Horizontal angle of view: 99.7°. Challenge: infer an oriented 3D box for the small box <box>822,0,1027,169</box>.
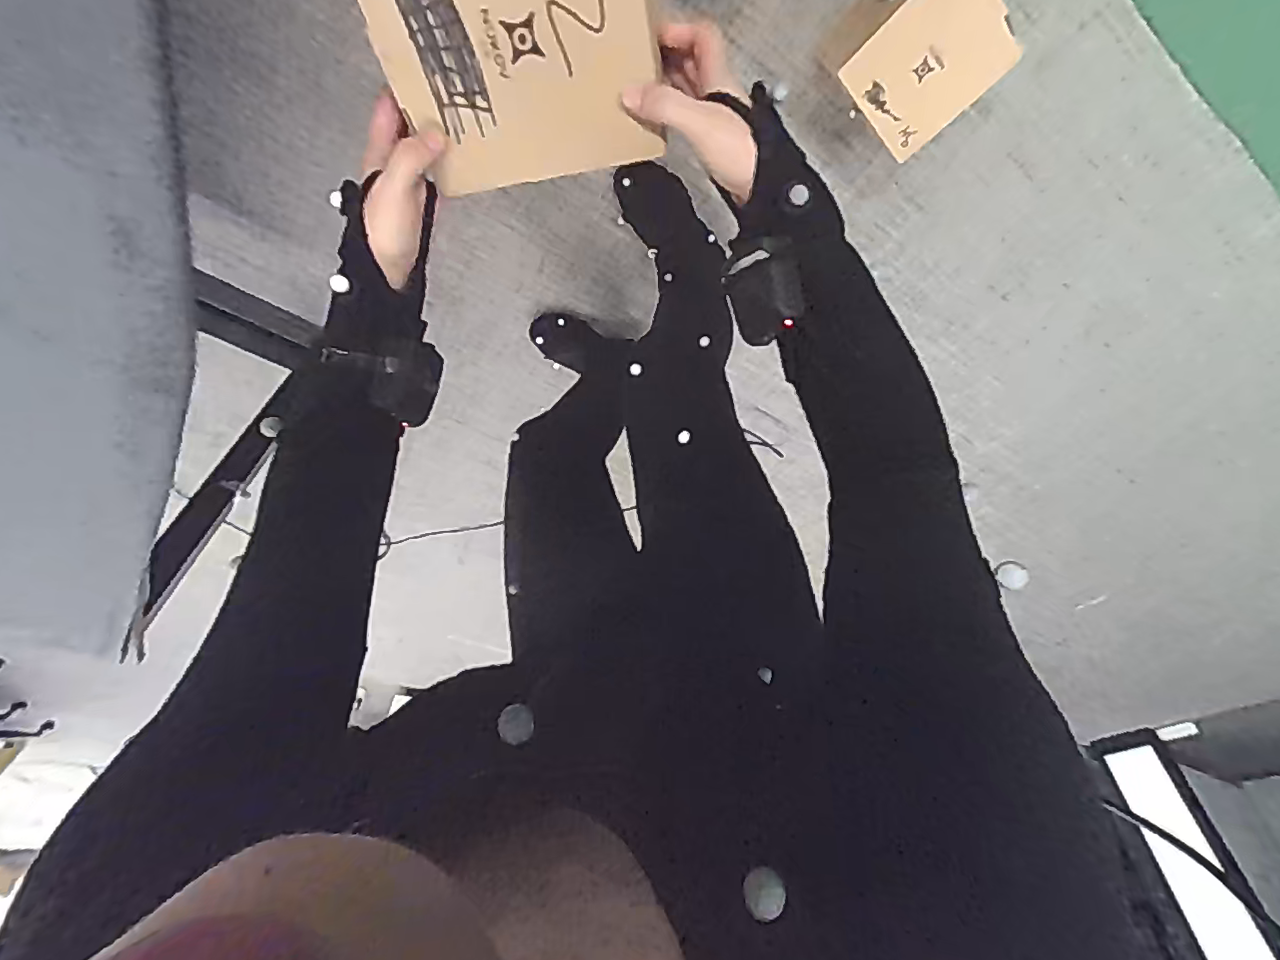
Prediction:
[{"bbox_3d":[0.384,-0.592,0.756,0.168,0.176,0.179,33,130,-29],"label":"small box"}]
